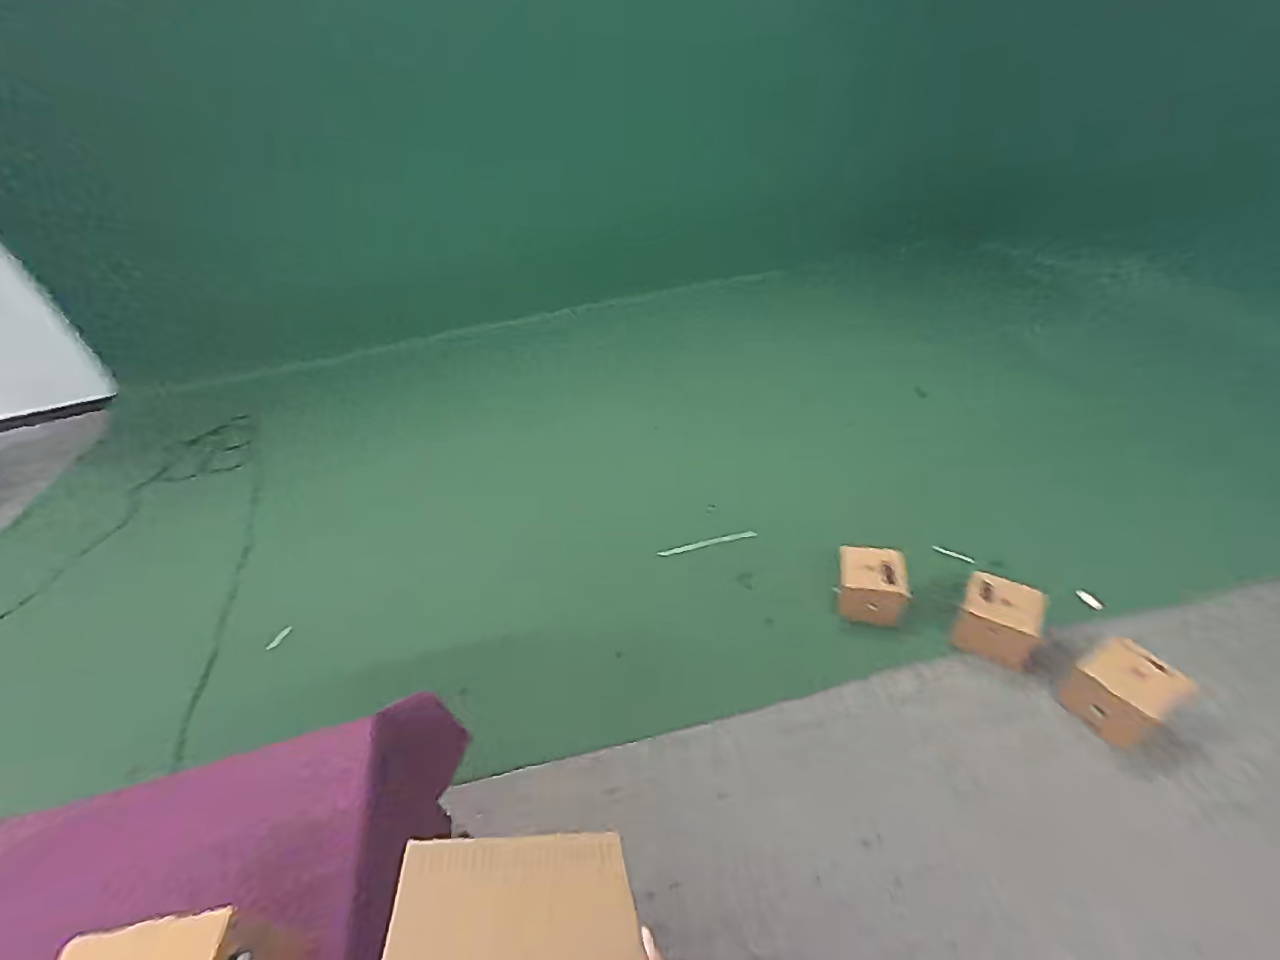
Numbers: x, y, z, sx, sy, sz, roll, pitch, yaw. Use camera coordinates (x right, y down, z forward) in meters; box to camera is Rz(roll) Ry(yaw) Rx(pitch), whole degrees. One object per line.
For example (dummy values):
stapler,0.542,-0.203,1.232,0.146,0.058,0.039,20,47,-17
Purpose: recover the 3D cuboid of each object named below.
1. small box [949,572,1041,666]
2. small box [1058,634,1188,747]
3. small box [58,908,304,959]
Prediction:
small box,1.018,0.402,1.560,0.179,0.176,0.168,20,47,29
small box,1.204,0.534,1.366,0.179,0.176,0.168,-25,42,-18
small box,-0.473,0.561,0.532,0.168,0.176,0.179,-11,39,-1
